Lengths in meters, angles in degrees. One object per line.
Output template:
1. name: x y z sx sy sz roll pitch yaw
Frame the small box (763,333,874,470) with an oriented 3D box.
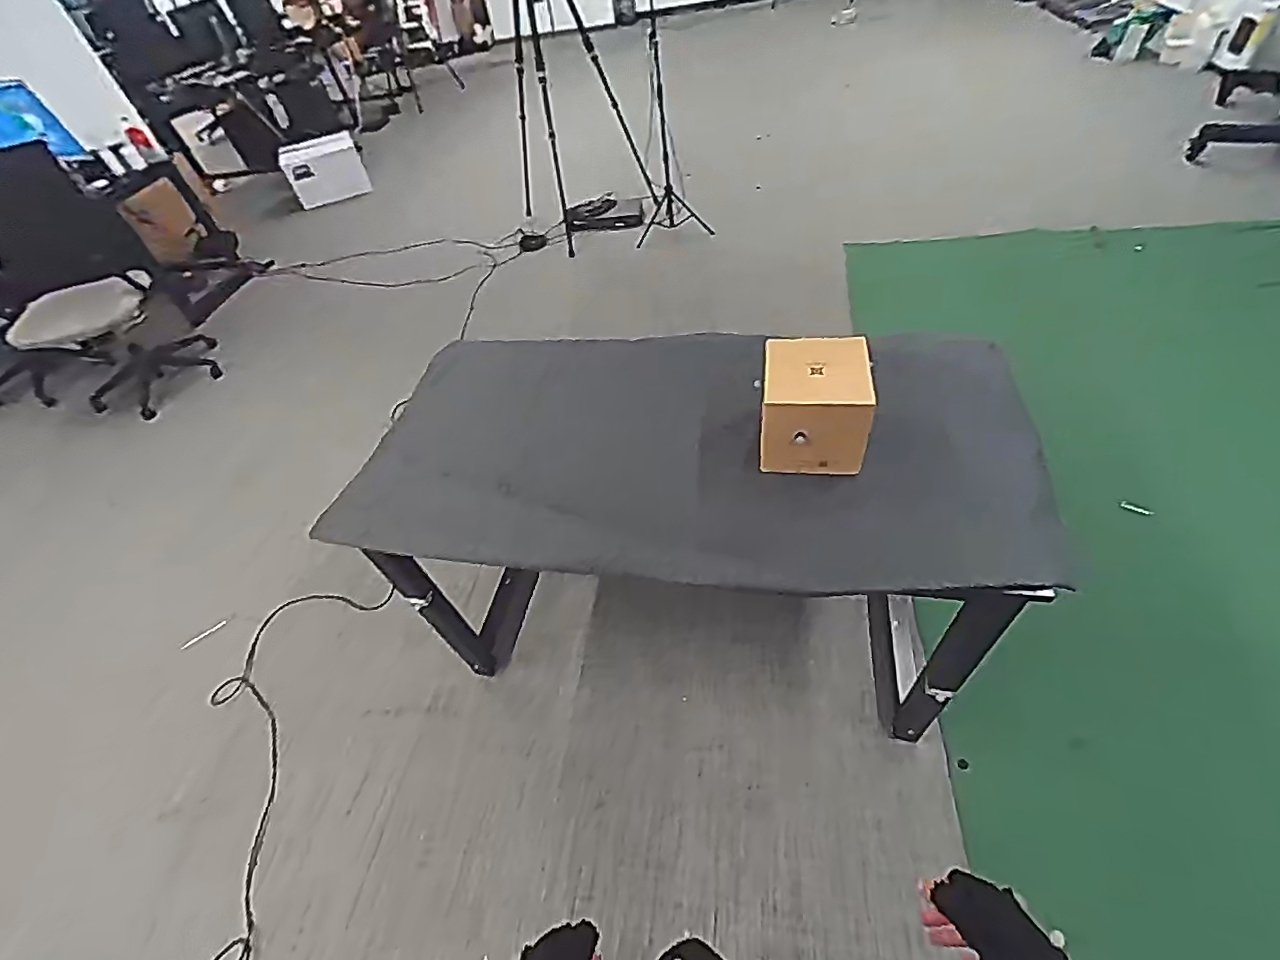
1. small box: 0.301 -0.133 0.938 0.168 0.176 0.179 2 49 13
